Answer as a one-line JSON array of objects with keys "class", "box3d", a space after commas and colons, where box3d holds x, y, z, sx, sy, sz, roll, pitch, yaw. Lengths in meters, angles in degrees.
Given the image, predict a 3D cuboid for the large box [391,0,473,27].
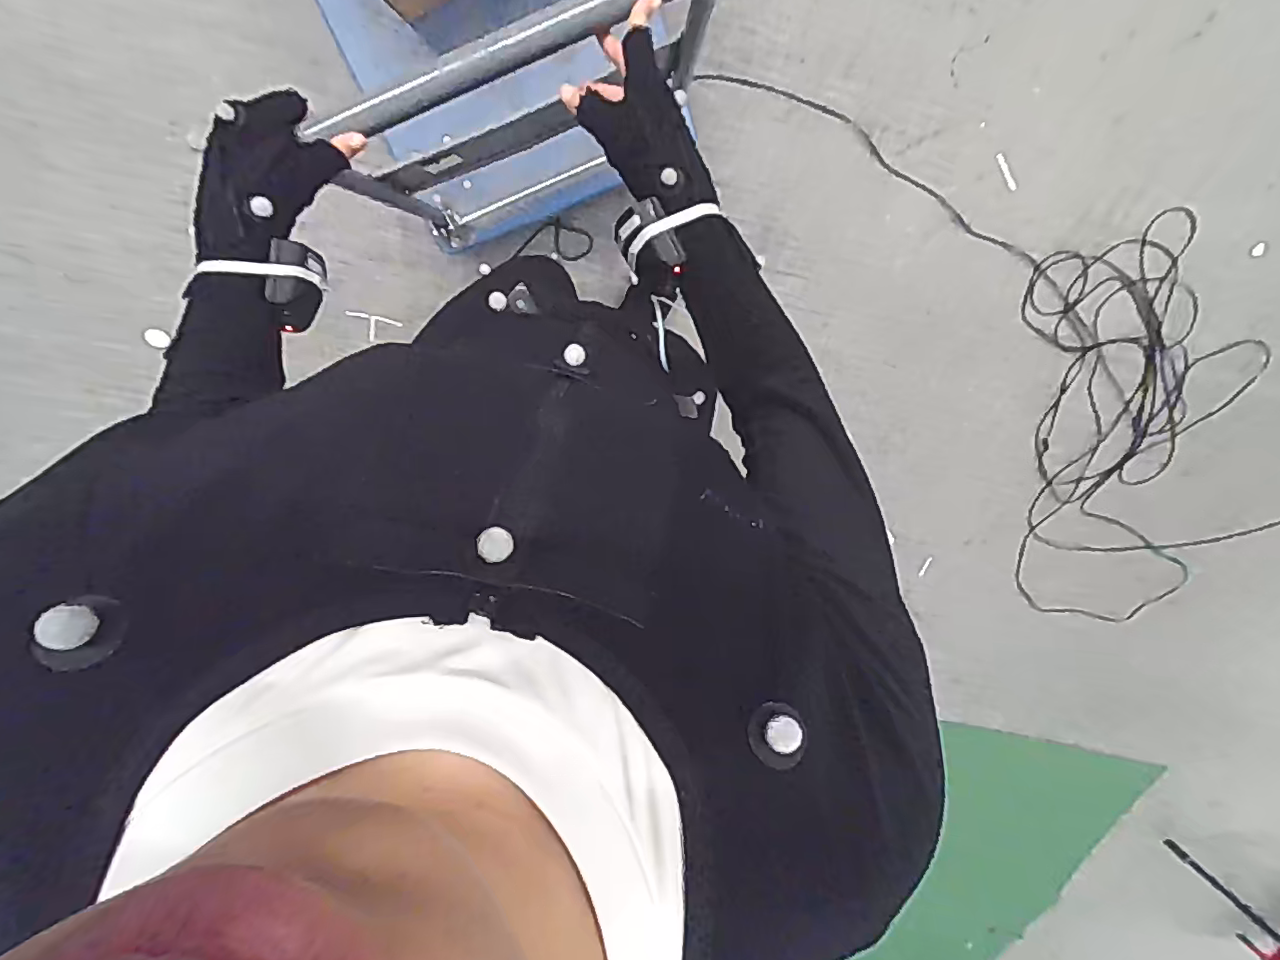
[{"class": "large box", "box3d": [-0.279, -0.963, 0.771, 0.408, 0.320, 0.320, -22, 112, 8]}]
